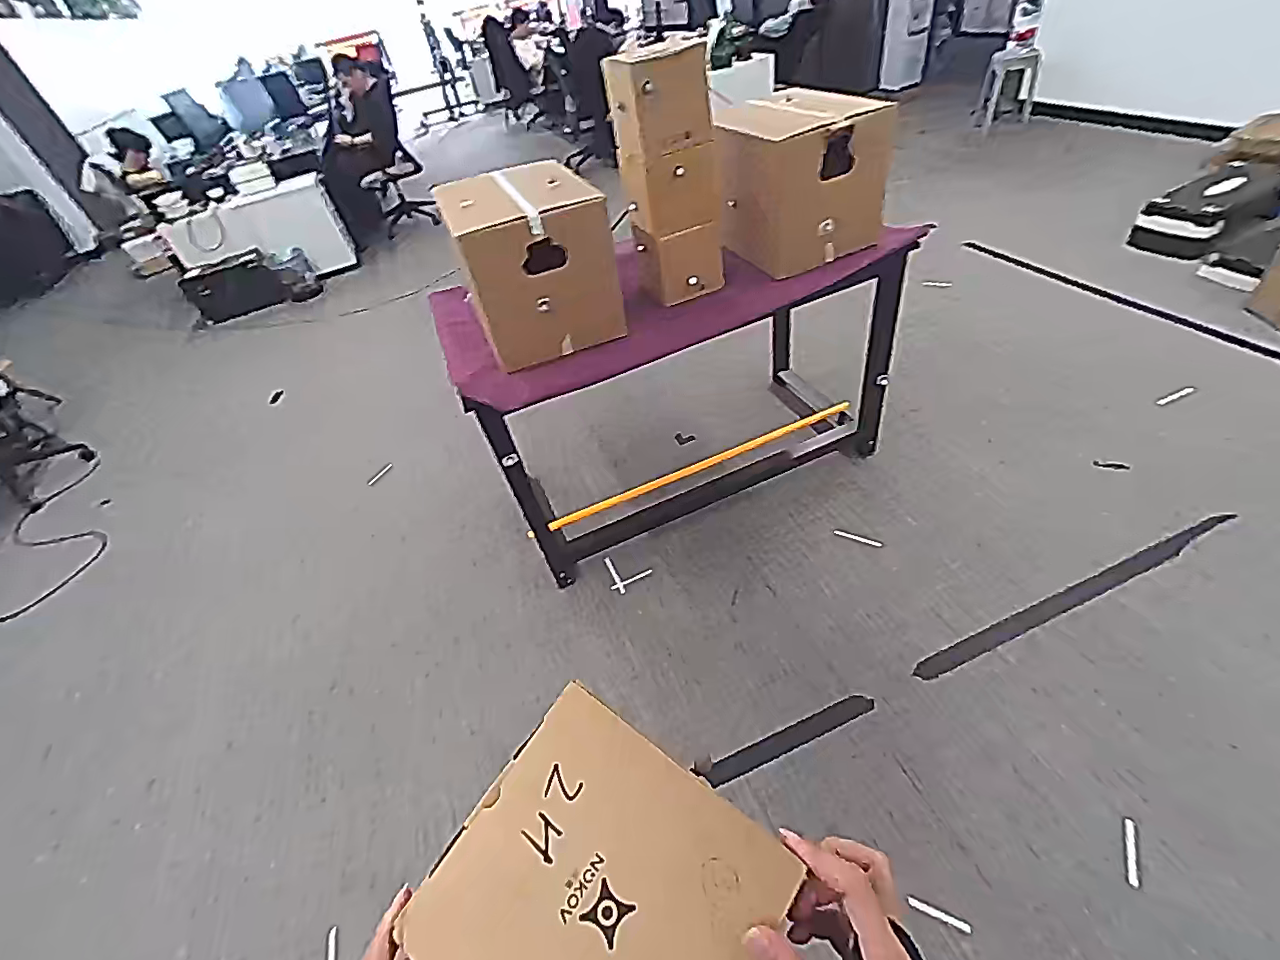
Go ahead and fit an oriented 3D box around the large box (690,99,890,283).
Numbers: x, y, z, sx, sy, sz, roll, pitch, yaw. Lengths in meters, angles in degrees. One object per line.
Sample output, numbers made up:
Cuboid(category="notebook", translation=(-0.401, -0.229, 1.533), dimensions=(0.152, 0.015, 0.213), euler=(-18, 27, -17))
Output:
Cuboid(category="large box", translation=(0.375, -0.764, 1.415), dimensions=(0.320, 0.320, 0.408), euler=(-23, 43, -10))
